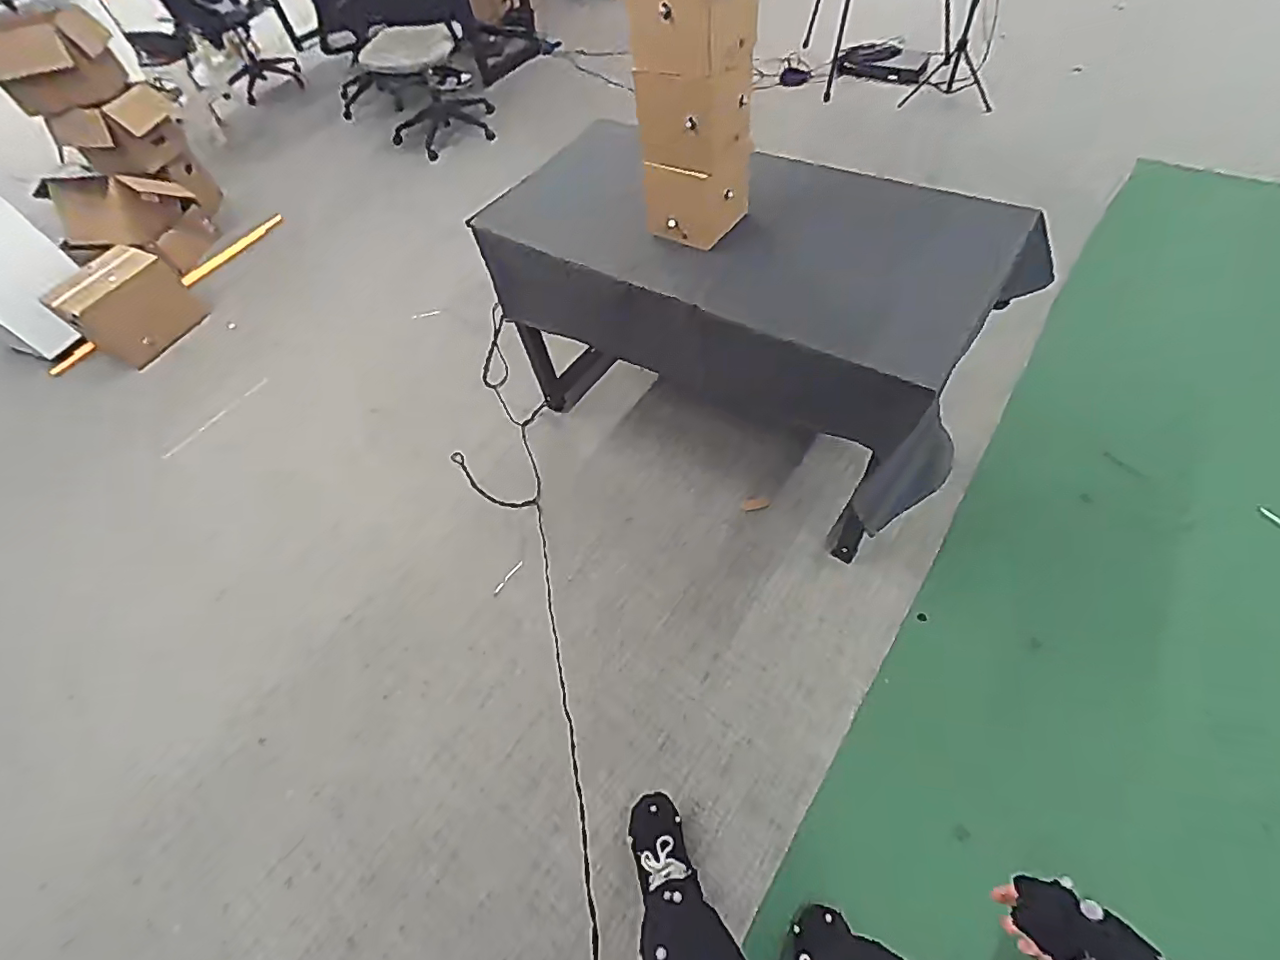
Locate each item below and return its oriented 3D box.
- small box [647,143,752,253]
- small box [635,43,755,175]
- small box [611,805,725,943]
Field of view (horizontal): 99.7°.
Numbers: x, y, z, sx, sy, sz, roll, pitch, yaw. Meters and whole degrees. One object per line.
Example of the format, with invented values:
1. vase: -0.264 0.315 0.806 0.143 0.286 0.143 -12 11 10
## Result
1. small box: 0.135 -0.653 1.229 0.168 0.176 0.179 29 65 25
2. small box: 0.115 -0.749 1.098 0.179 0.176 0.168 27 62 24
3. small box: 0.058 0.807 1.126 0.179 0.176 0.168 12 71 28
